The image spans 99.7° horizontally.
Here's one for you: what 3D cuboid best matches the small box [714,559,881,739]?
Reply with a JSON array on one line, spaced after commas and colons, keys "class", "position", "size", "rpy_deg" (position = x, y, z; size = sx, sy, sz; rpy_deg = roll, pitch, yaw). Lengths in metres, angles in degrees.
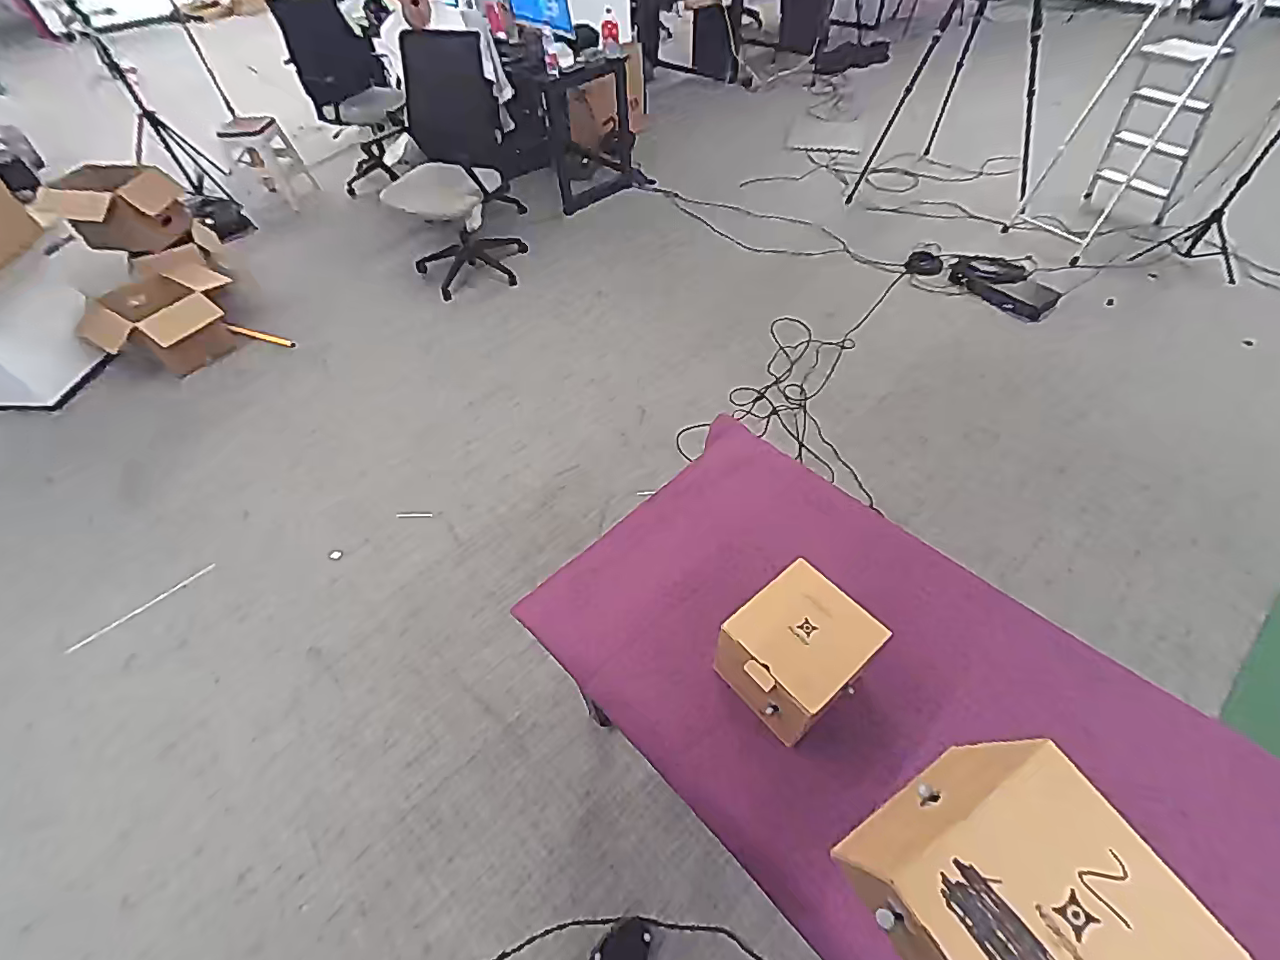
[{"class": "small box", "position": [0.228, 0.262, 0.832], "size": [0.179, 0.176, 0.168], "rpy_deg": [-33, 57, -22]}]
